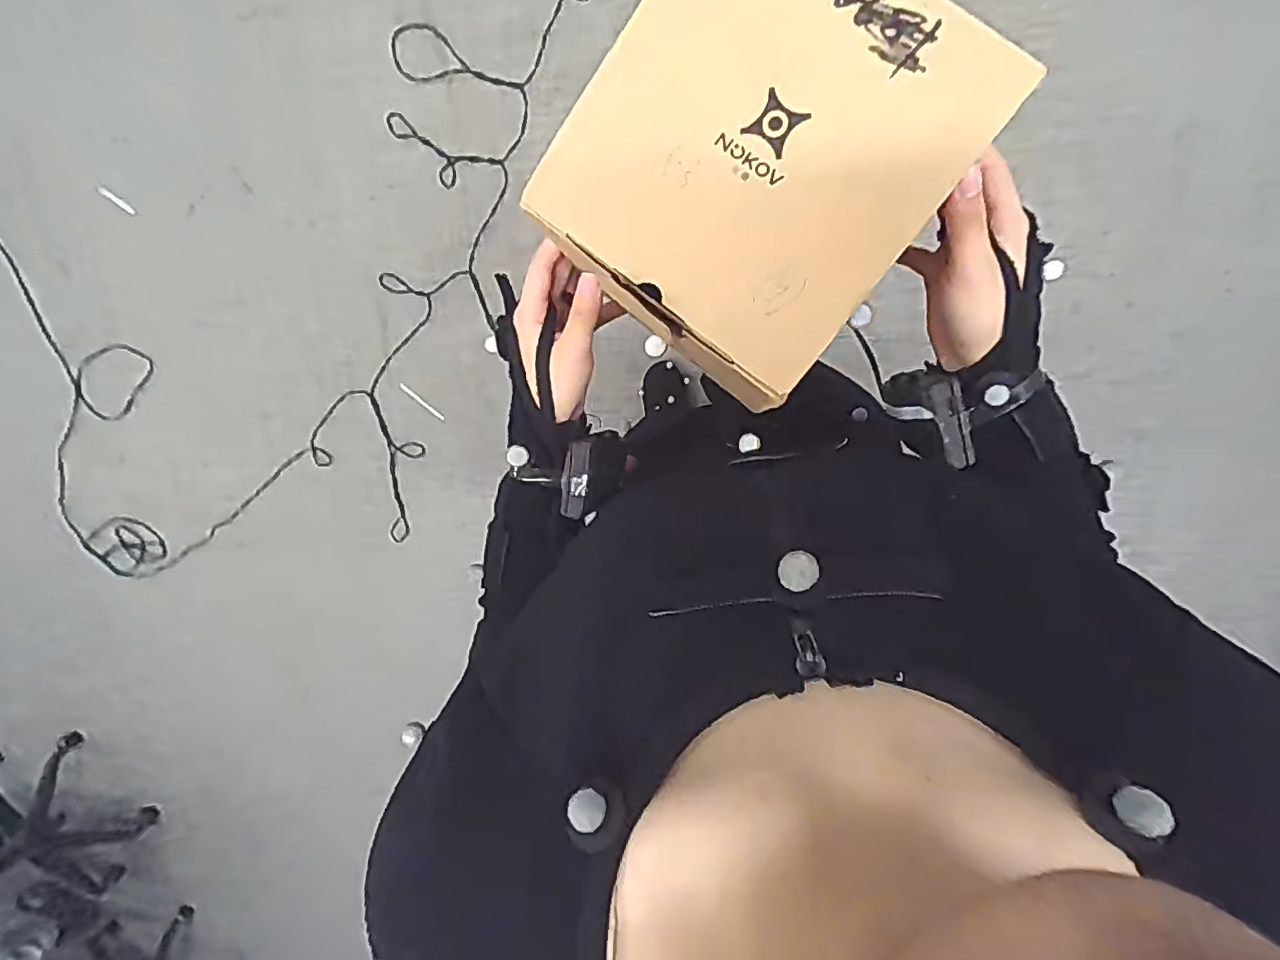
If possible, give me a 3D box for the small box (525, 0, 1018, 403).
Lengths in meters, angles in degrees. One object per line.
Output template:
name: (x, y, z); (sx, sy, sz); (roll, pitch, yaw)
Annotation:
small box: (0.067, -0.161, 0.334); (0.168, 0.176, 0.179); (39, 101, 3)
